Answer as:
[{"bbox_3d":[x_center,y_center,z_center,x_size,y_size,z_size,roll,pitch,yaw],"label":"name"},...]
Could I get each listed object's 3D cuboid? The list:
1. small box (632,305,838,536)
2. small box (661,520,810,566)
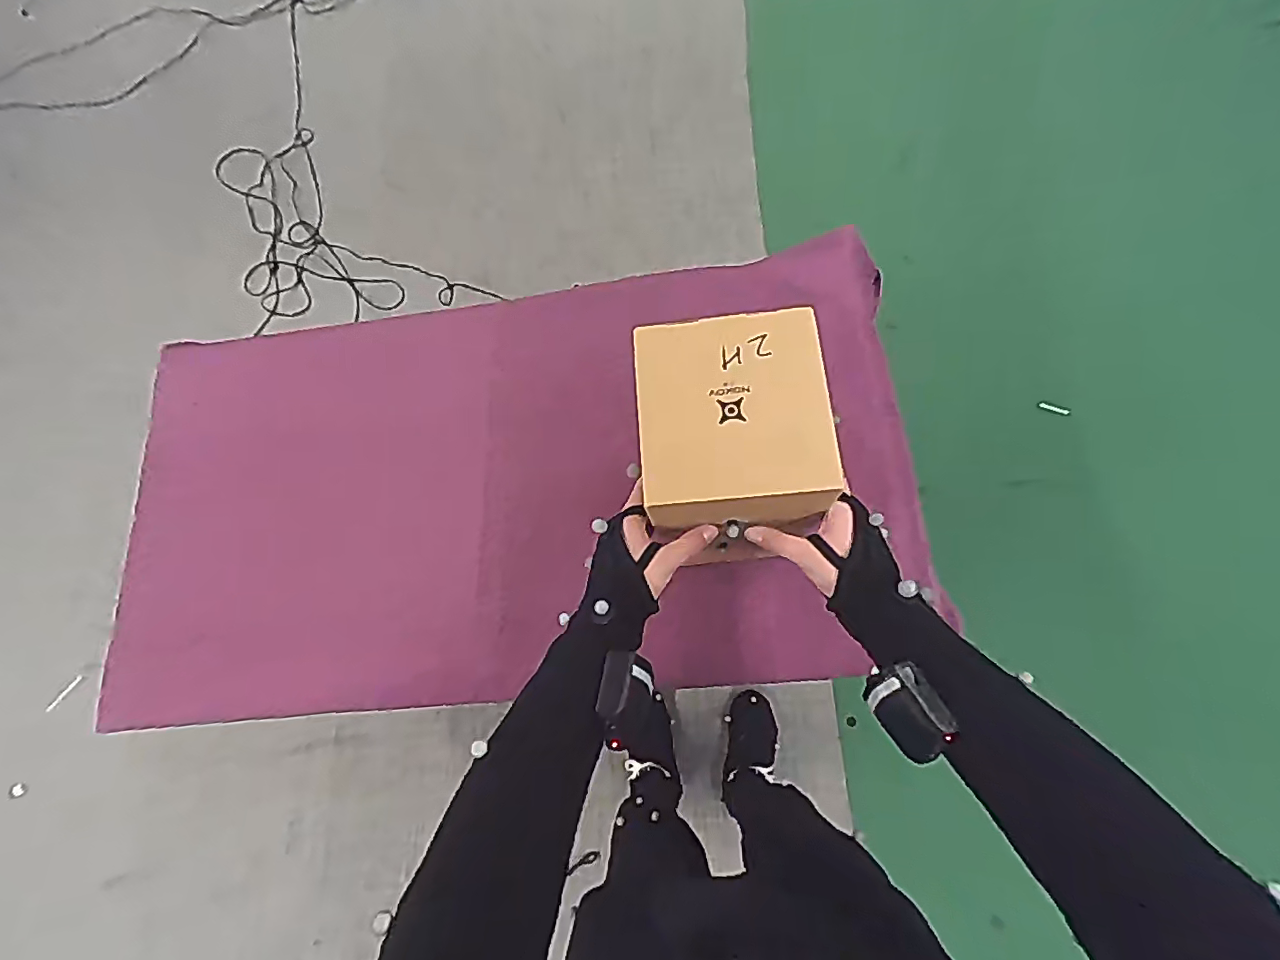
[{"bbox_3d":[0.087,-0.043,0.540,0.168,0.176,0.179,-5,71,6],"label":"small box"},{"bbox_3d":[0.110,0.006,0.698,0.168,0.176,0.179,-7,73,7],"label":"small box"}]
